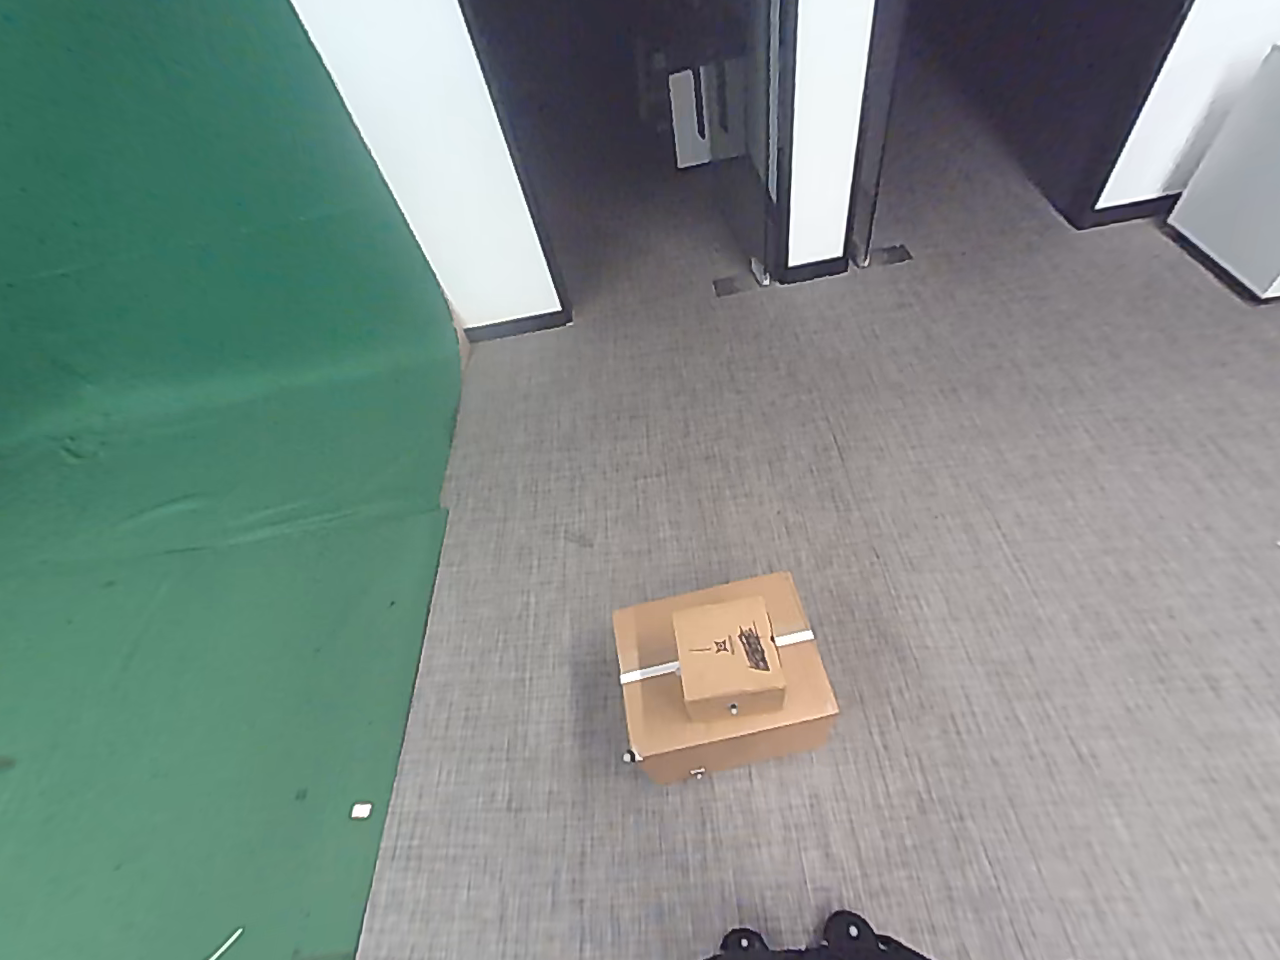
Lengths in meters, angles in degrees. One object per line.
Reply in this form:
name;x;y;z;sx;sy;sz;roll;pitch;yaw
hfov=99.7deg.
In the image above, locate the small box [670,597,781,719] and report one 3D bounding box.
small box;0.161;0.344;1.033;0.179;0.176;0.168;-11;52;5
